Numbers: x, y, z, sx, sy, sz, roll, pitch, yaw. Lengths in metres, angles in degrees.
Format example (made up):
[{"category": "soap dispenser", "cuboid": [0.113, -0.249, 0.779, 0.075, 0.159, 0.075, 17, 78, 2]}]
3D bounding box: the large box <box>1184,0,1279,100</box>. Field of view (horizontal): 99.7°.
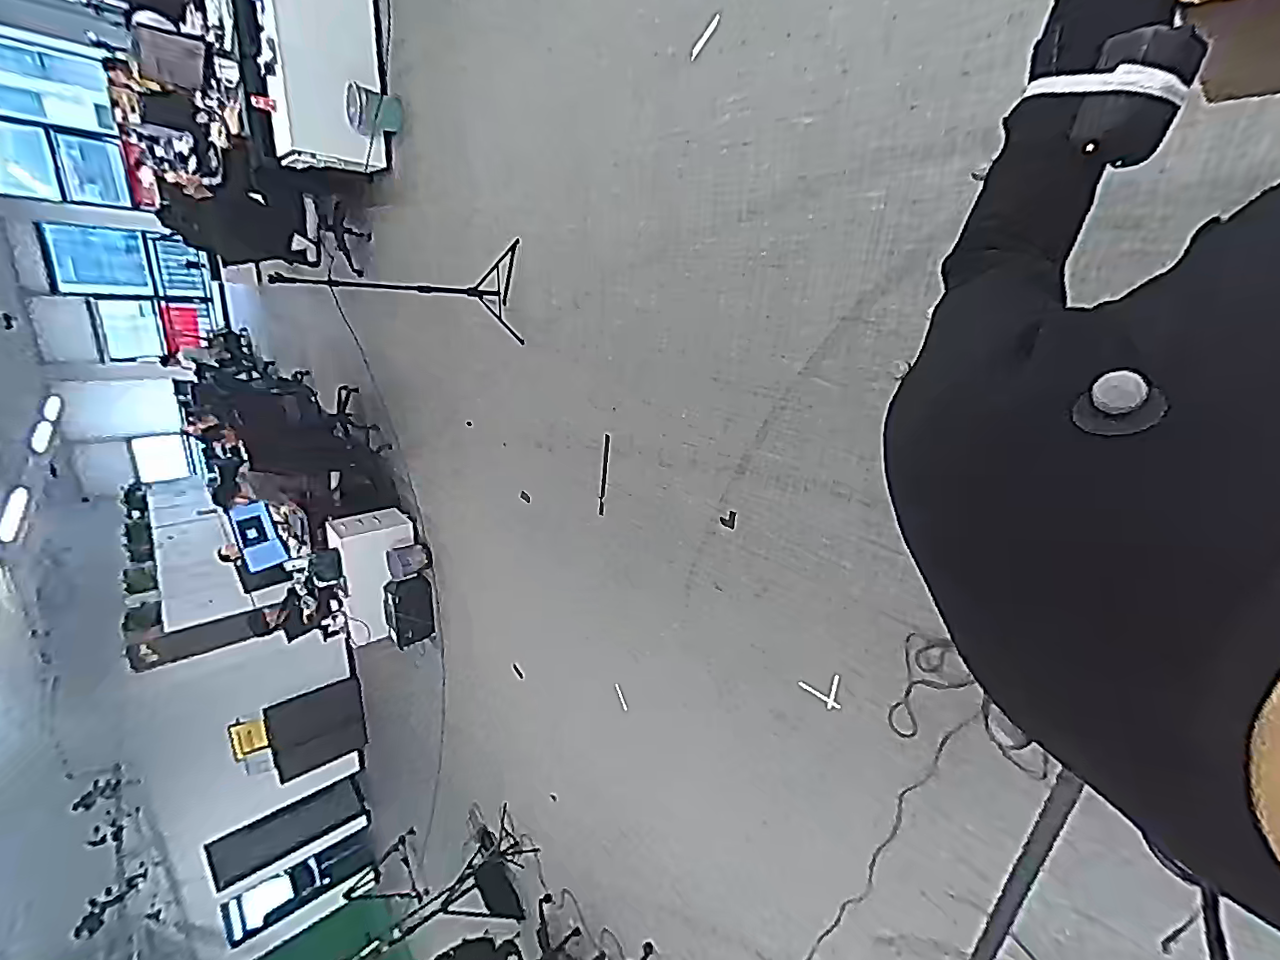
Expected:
[{"category": "large box", "cuboid": [0.584, -0.428, 0.253, 0.408, 0.320, 0.320, 21, 120, 42]}]
